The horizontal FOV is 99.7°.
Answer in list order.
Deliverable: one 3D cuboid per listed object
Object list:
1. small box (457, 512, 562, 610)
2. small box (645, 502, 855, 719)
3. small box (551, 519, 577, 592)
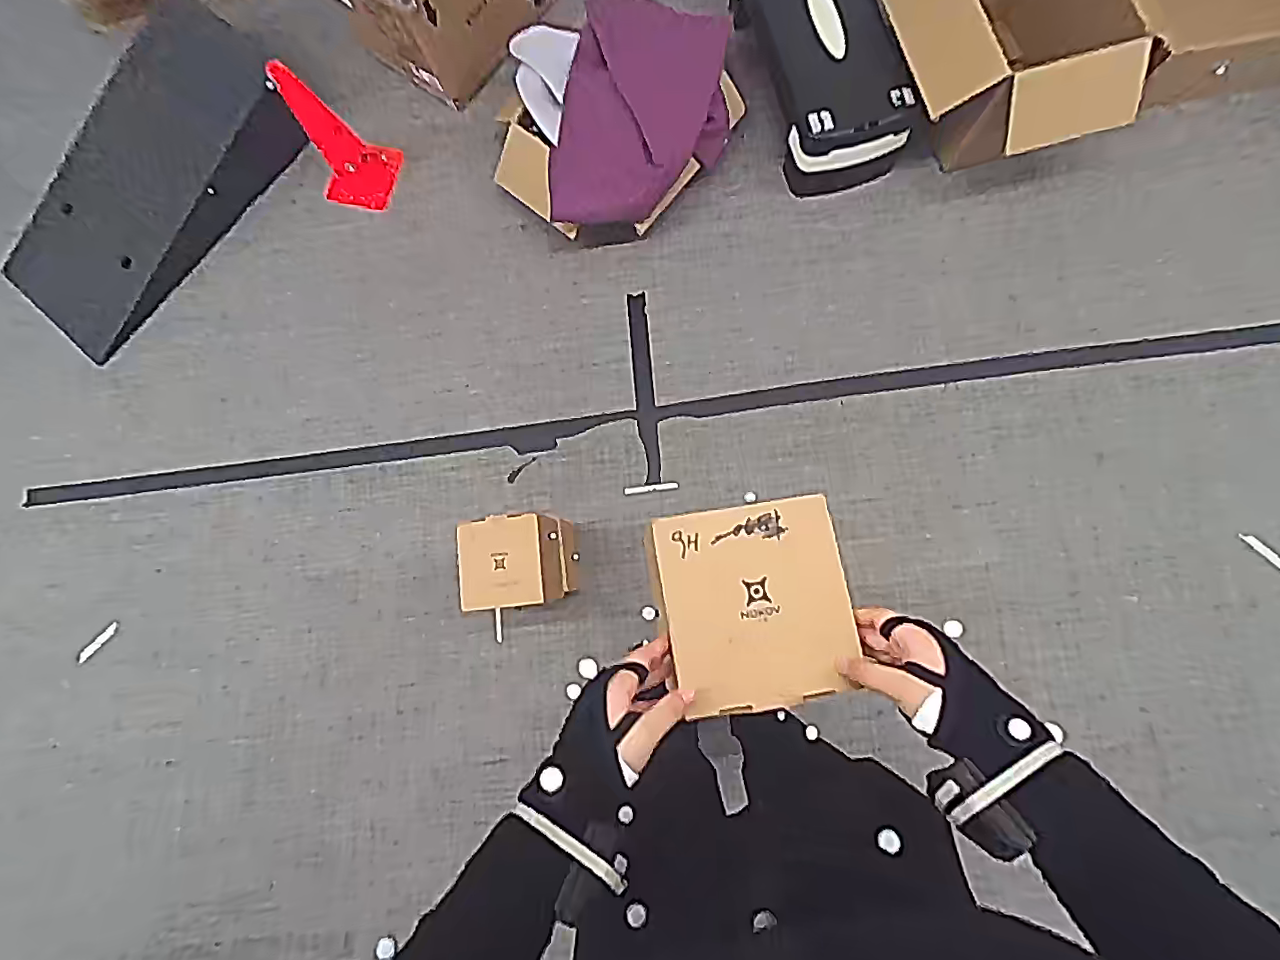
[{"bbox_3d":[-0.266,0.169,1.130,0.168,0.176,0.179,-7,82,5],"label":"small box"},{"bbox_3d":[0.097,0.129,0.566,0.168,0.176,0.179,-8,79,-3],"label":"small box"},{"bbox_3d":[-0.251,0.189,1.290,0.179,0.176,0.168,-8,80,4],"label":"small box"}]
